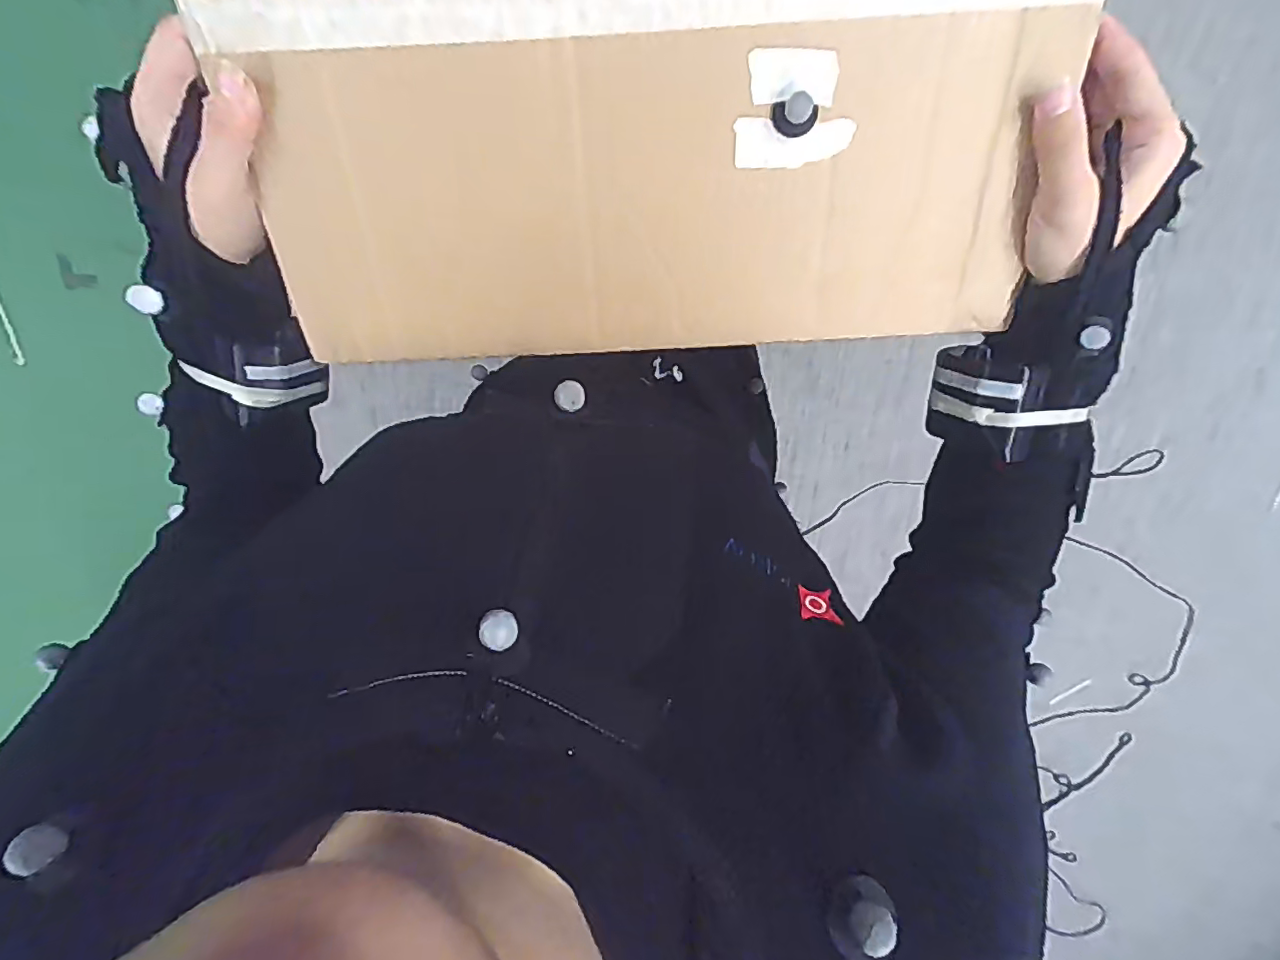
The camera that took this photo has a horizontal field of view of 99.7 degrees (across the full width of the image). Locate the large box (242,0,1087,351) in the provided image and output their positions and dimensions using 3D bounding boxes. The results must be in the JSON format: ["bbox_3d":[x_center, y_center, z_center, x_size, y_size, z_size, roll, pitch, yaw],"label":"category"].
[{"bbox_3d":[0.007,-0.295,0.383,0.408,0.320,0.320,-4,119,-1],"label":"large box"}]
